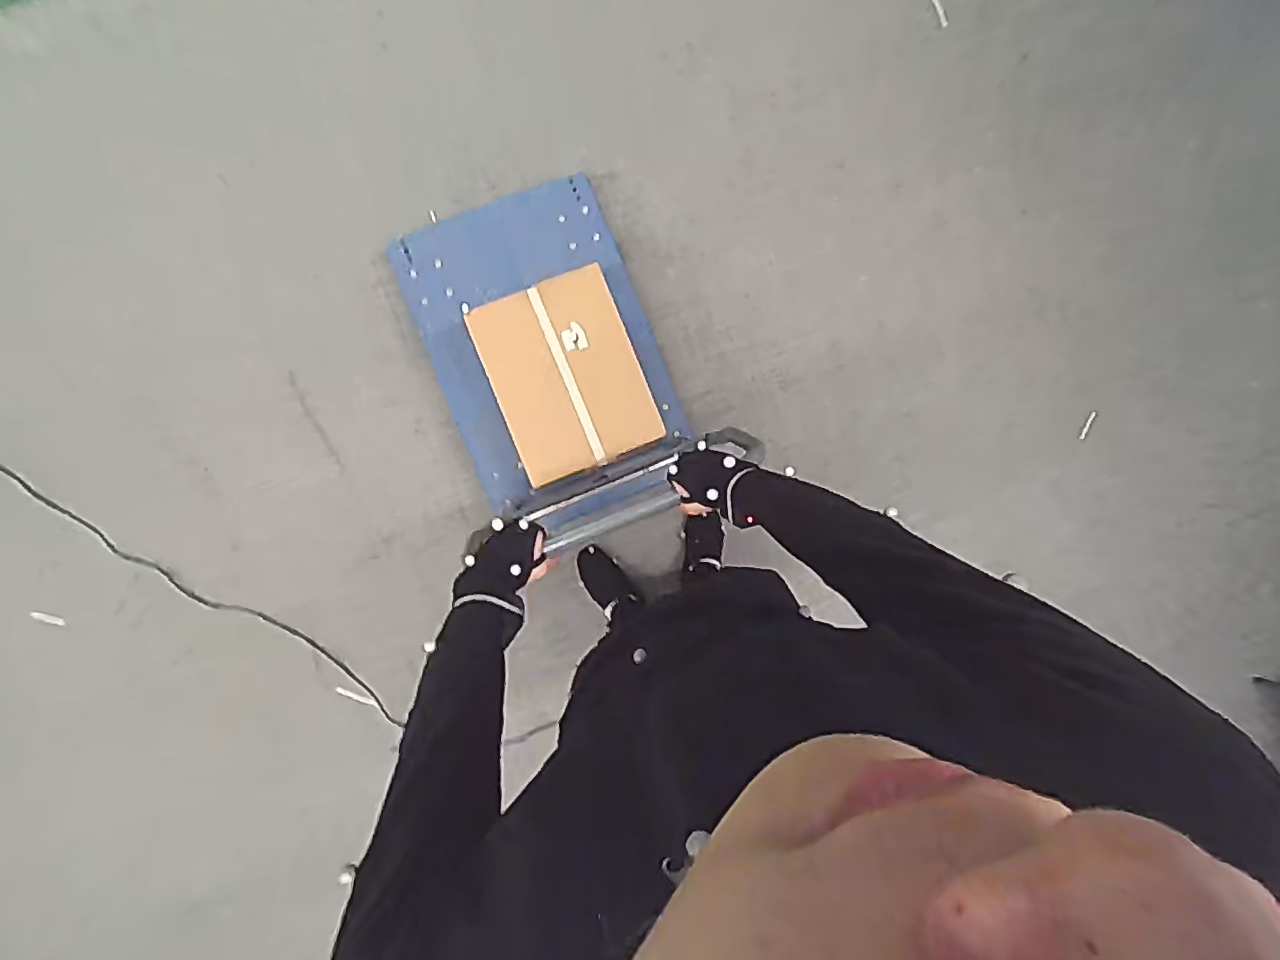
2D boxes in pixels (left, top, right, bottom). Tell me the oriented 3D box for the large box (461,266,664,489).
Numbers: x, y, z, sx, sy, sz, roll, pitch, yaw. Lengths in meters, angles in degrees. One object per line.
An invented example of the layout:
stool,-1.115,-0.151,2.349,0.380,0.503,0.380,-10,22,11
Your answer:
large box,-0.172,-0.219,1.303,0.320,0.320,0.408,-23,89,-5
